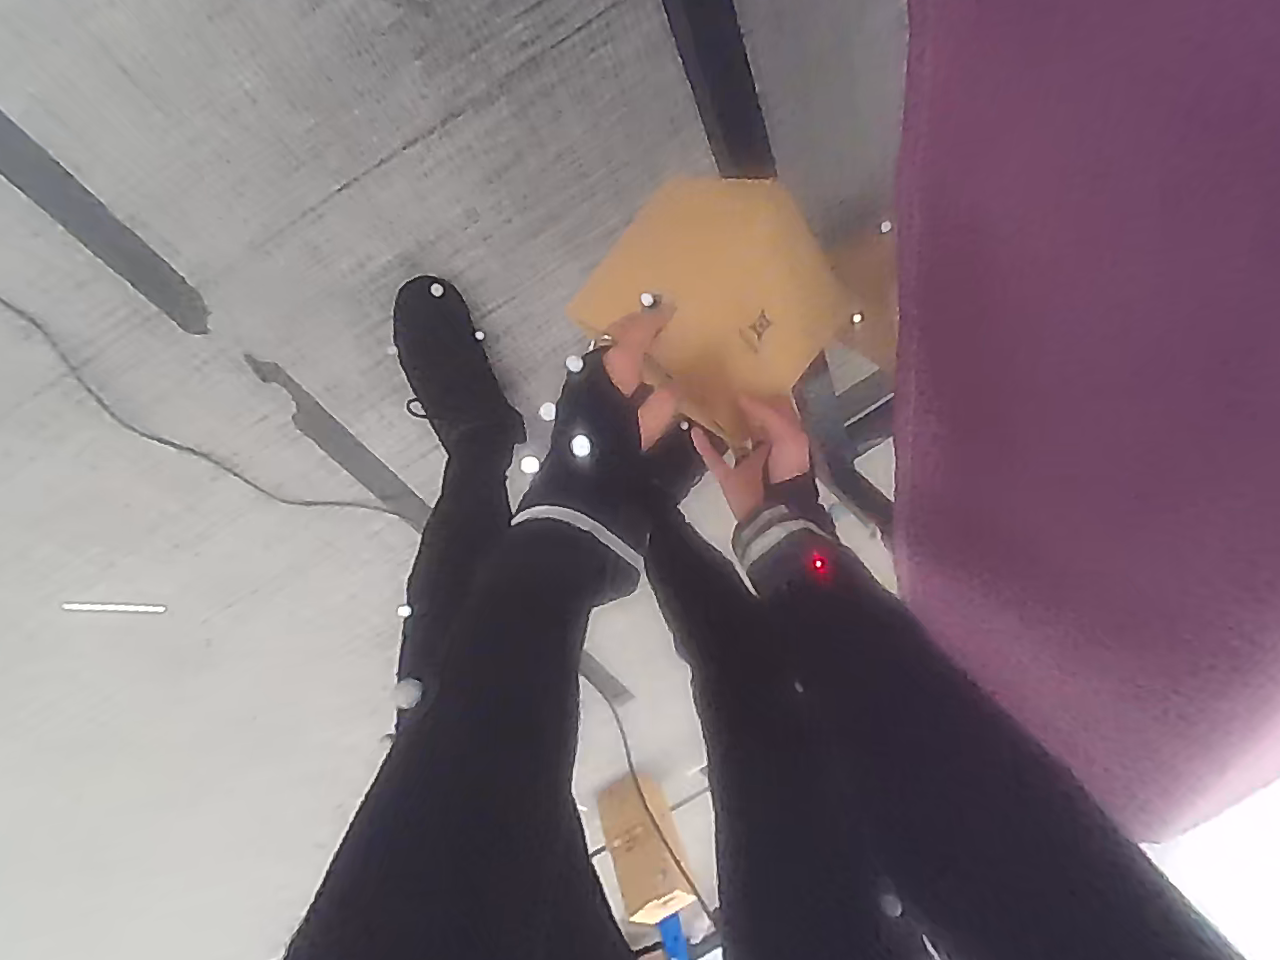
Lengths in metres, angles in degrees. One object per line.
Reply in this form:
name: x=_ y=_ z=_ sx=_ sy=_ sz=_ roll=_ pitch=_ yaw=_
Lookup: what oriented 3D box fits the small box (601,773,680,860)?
small box: x=-0.001 y=1.064 z=1.715 sx=0.168 sy=0.176 sz=0.179 roll=-34 pitch=130 yaw=5
